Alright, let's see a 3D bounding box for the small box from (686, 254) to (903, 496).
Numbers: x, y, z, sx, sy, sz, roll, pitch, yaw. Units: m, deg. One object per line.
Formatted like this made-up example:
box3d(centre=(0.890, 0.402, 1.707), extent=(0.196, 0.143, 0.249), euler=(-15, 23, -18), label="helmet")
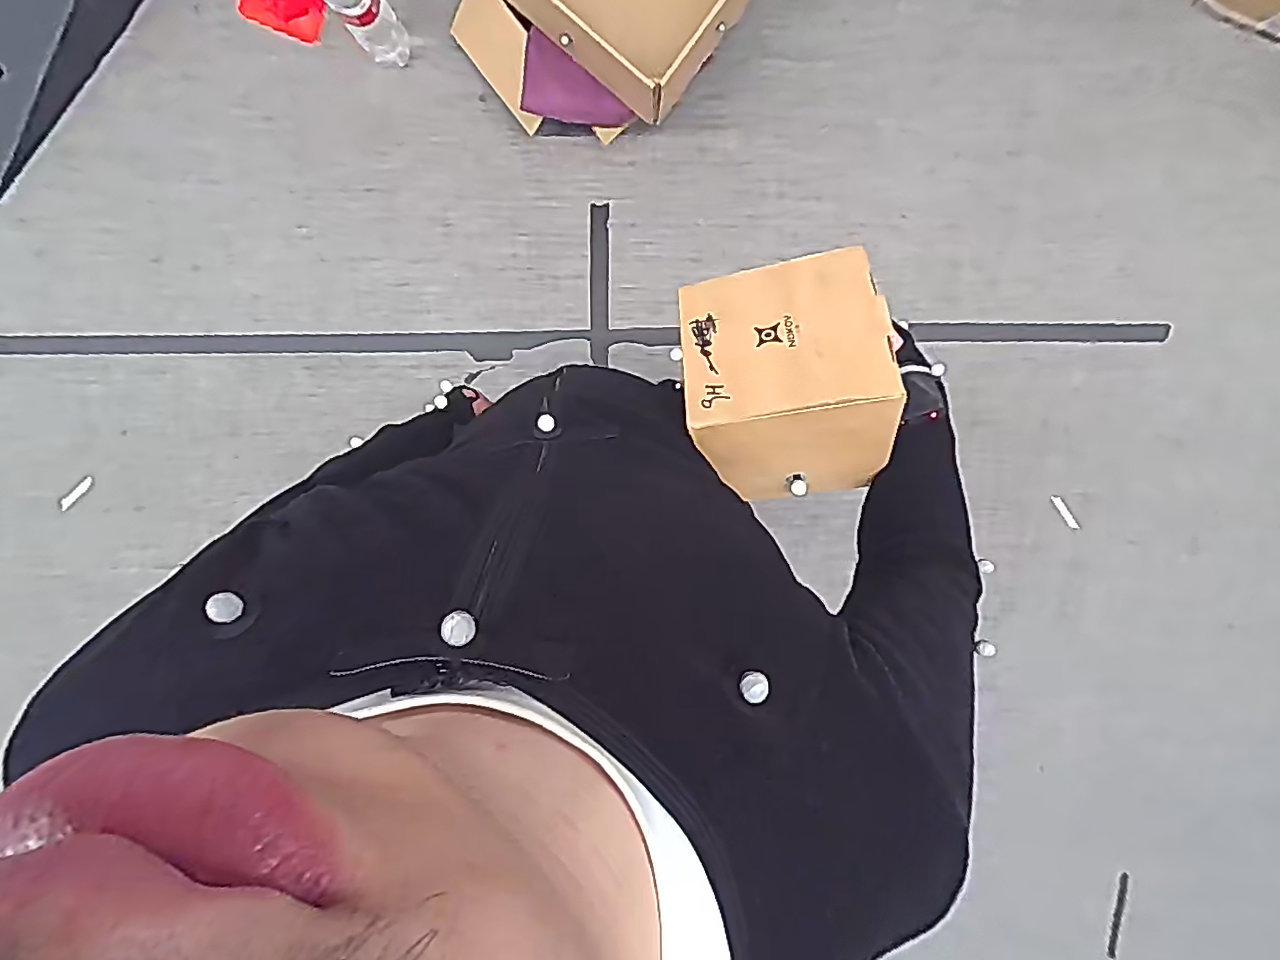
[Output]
box3d(centre=(0.150, -0.096, 0.560), extent=(0.179, 0.176, 0.168), euler=(-8, 62, 14), label="small box")
